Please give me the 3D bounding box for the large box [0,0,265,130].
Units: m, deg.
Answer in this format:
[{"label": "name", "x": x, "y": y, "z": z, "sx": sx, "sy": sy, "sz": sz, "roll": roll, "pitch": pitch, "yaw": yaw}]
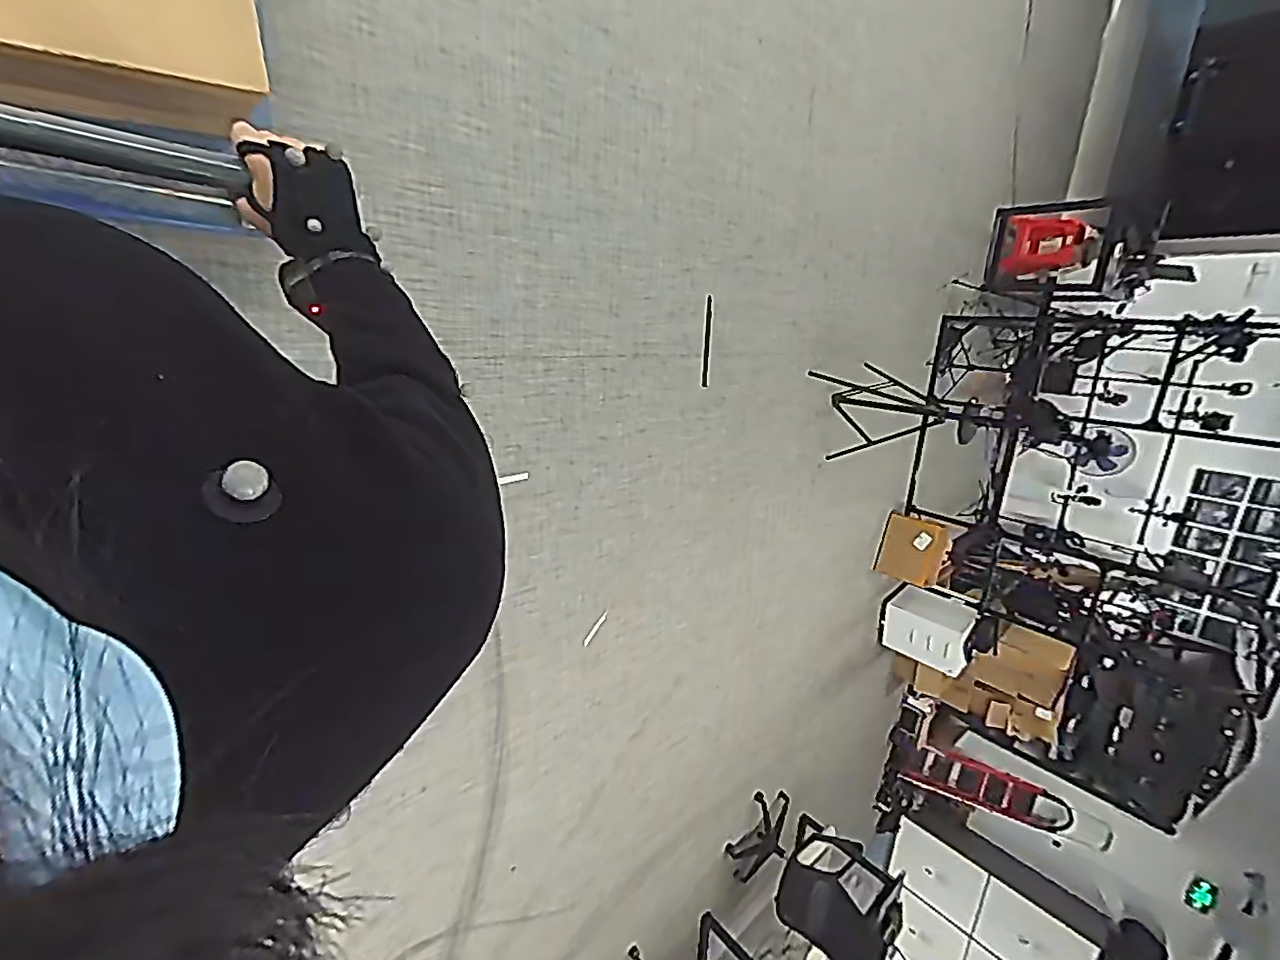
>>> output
[{"label": "large box", "x": -0.796, "y": -0.701, "z": 0.714, "sx": 0.408, "sy": 0.320, "sz": 0.320, "roll": -18, "pitch": 117, "yaw": -40}]
